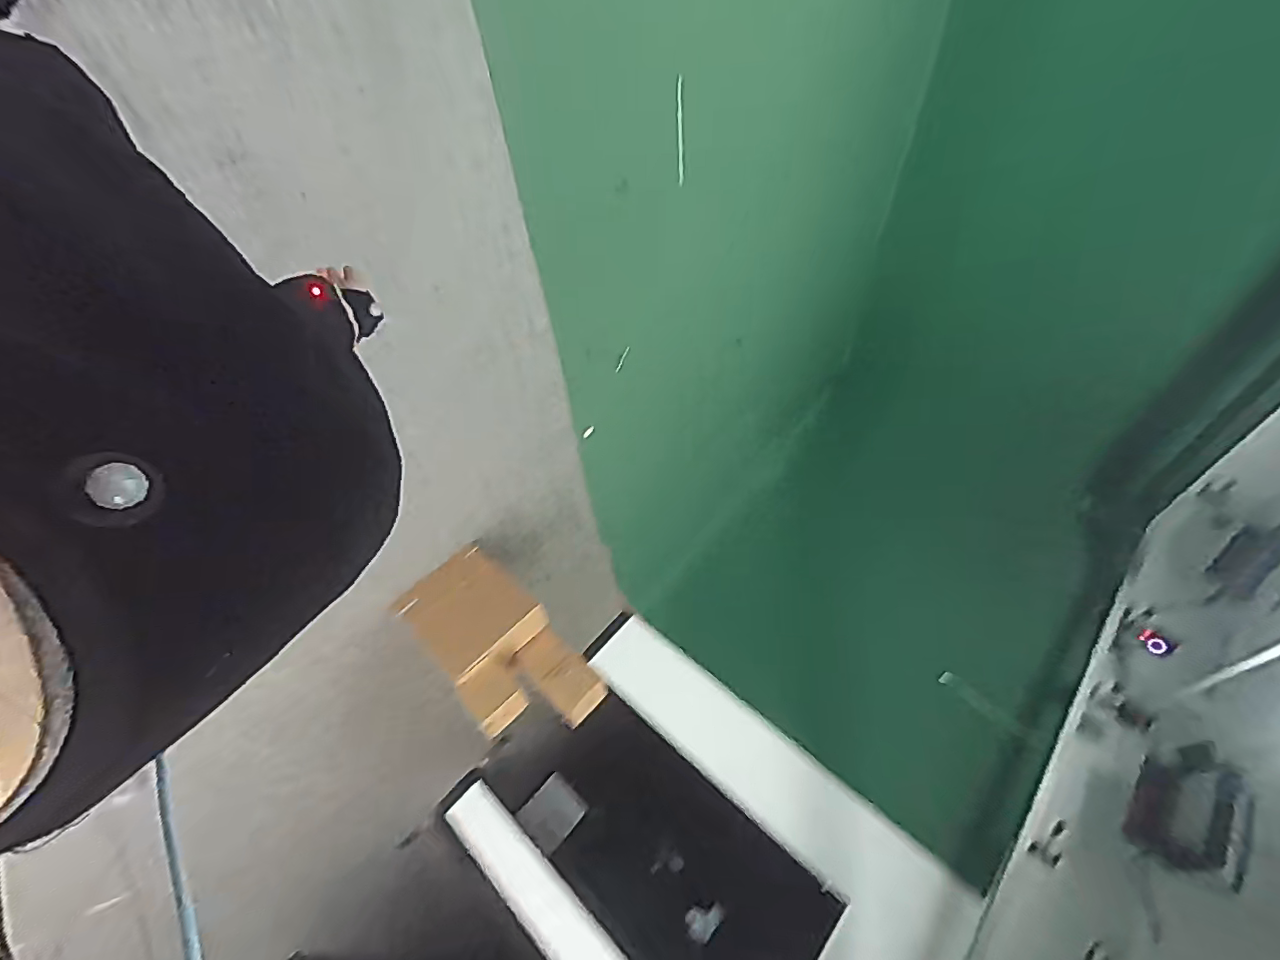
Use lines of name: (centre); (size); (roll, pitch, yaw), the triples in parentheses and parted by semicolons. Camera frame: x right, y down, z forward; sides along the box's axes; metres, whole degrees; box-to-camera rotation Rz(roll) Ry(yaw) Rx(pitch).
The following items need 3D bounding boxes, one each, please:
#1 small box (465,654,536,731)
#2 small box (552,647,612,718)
small box: (-0.519, 0.785, 2.016); (0.179, 0.176, 0.168); (-40, 145, -28)
small box: (-0.227, 0.792, 2.133); (0.168, 0.176, 0.179); (-39, 147, -31)
